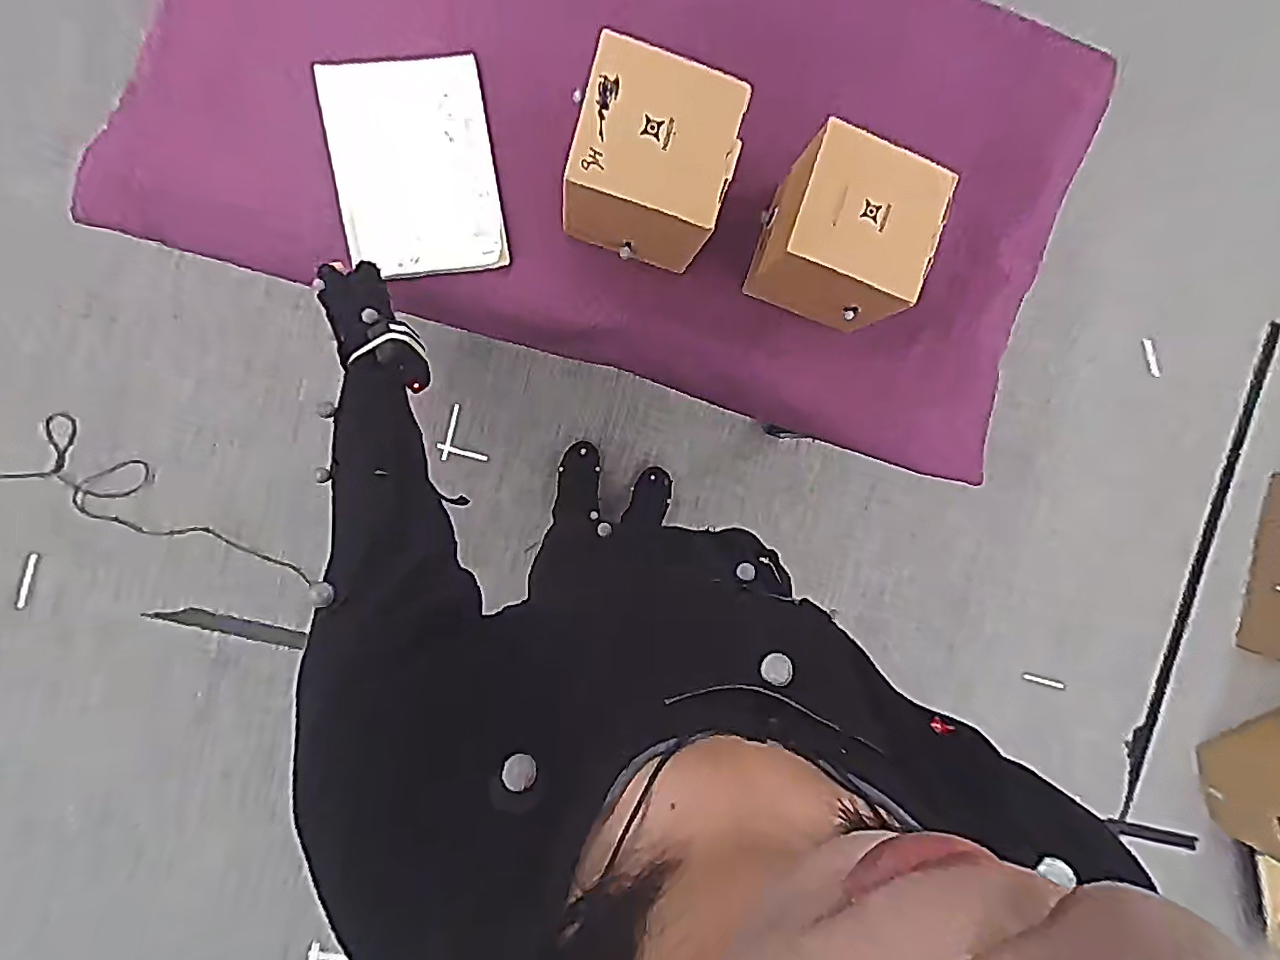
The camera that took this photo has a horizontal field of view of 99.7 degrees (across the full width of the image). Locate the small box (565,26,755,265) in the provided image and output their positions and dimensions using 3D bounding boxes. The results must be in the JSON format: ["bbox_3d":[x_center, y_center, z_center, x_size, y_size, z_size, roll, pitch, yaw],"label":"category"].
[{"bbox_3d":[0.012,-0.385,0.664,0.179,0.176,0.168,15,91,-9],"label":"small box"}]

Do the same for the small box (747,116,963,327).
[{"bbox_3d":[0.265,-0.315,0.705,0.179,0.176,0.168,18,89,-7],"label":"small box"}]
